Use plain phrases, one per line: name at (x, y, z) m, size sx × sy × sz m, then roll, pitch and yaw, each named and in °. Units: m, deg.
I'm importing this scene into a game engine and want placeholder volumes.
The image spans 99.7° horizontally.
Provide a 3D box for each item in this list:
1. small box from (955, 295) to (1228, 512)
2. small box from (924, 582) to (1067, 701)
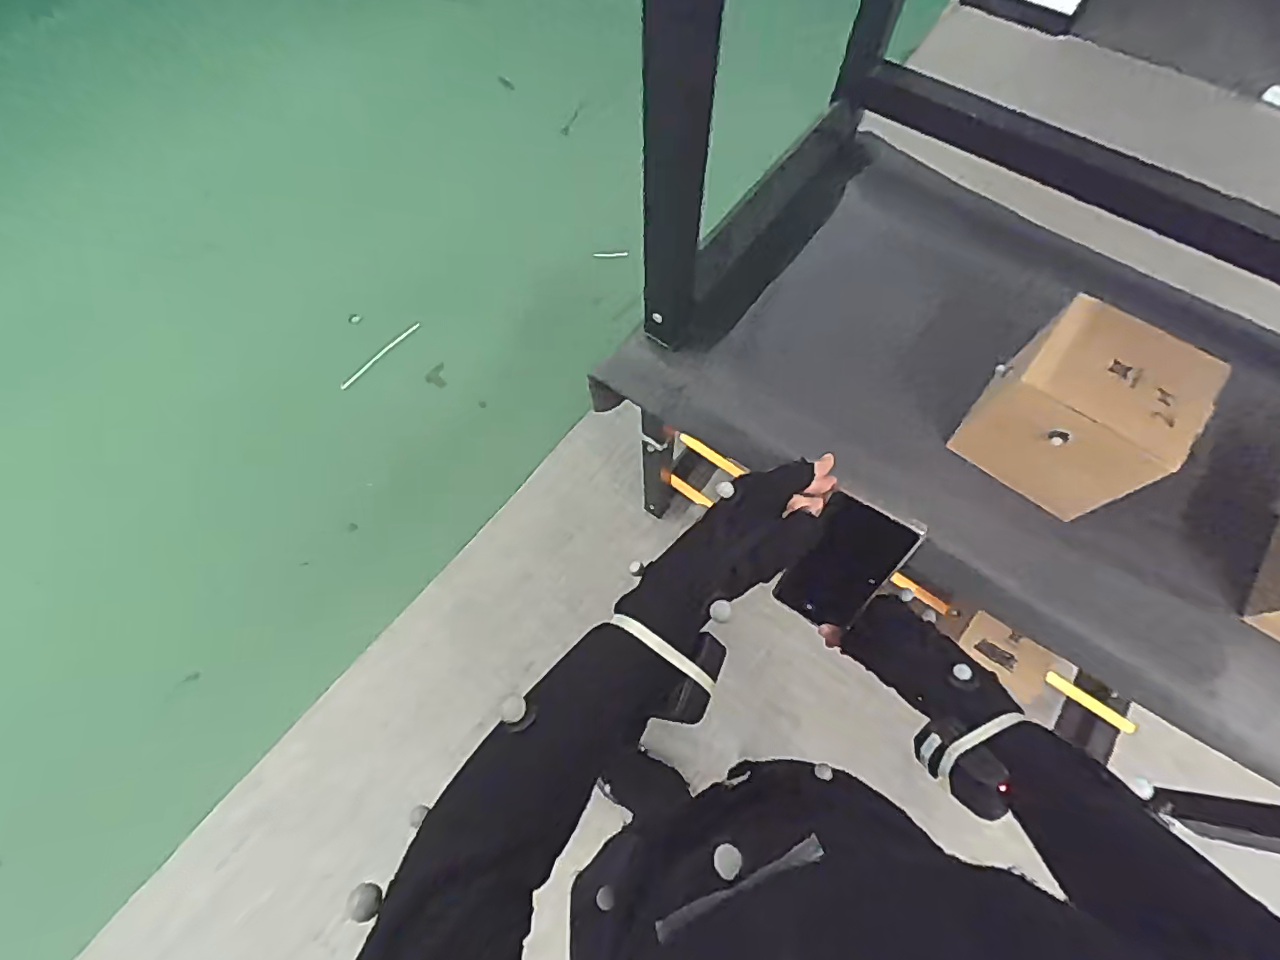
small box at (0.541, -0.086, 0.677) m, size 0.179 × 0.176 × 0.168 m, roll 38°, pitch 73°, yaw 16°
small box at (0.749, 0.353, 1.163) m, size 0.168 × 0.176 × 0.179 m, roll 38°, pitch 73°, yaw 15°
